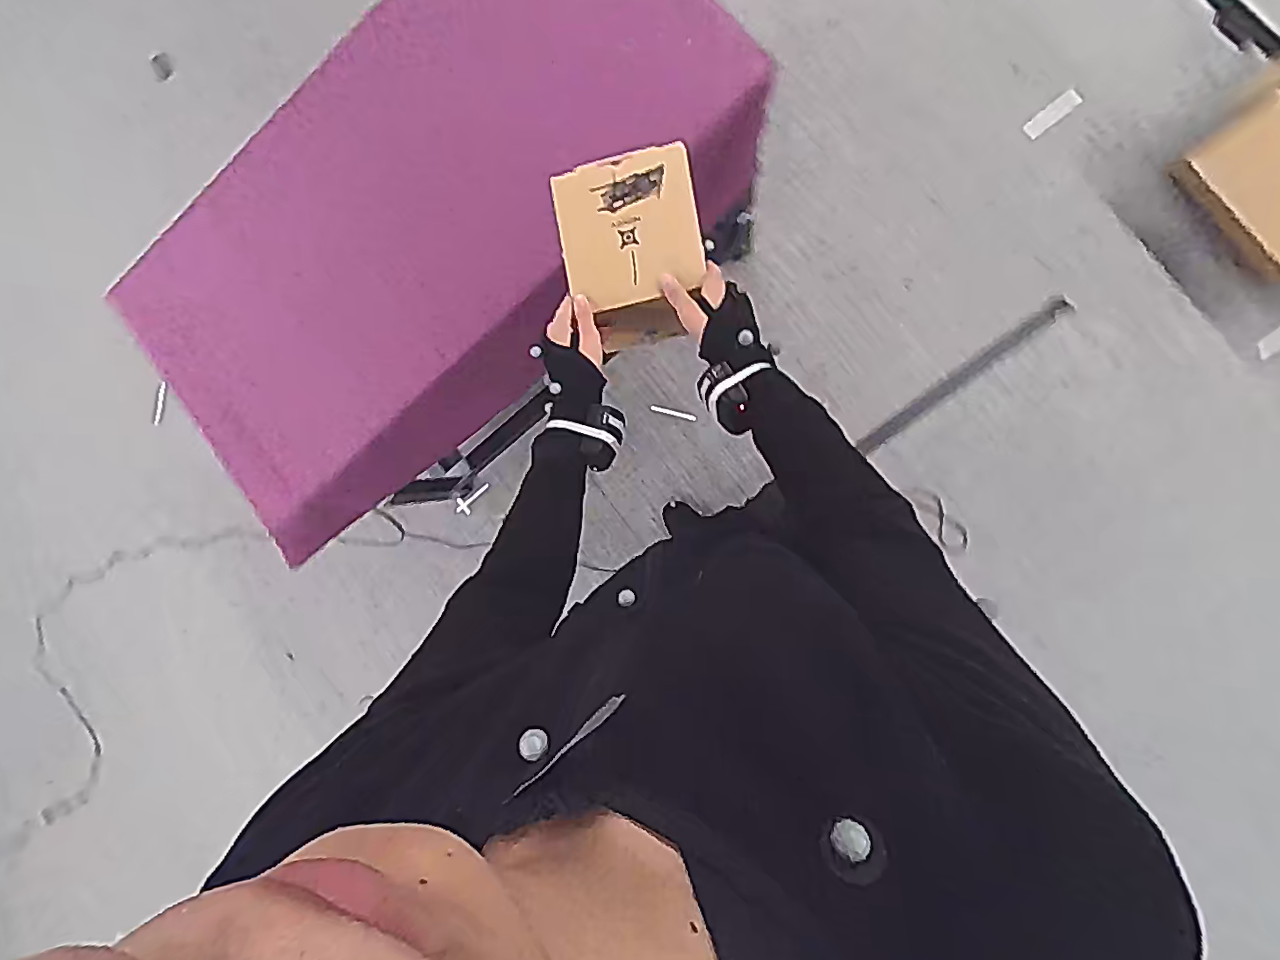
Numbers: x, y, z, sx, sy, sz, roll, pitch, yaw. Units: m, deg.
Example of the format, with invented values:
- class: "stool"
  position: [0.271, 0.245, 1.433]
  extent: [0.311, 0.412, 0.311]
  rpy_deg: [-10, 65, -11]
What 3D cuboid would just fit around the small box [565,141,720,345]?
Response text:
- class: "small box"
  position: [0.012, -0.298, 0.718]
  extent: [0.168, 0.176, 0.179]
  rpy_deg: [-9, 87, 10]
